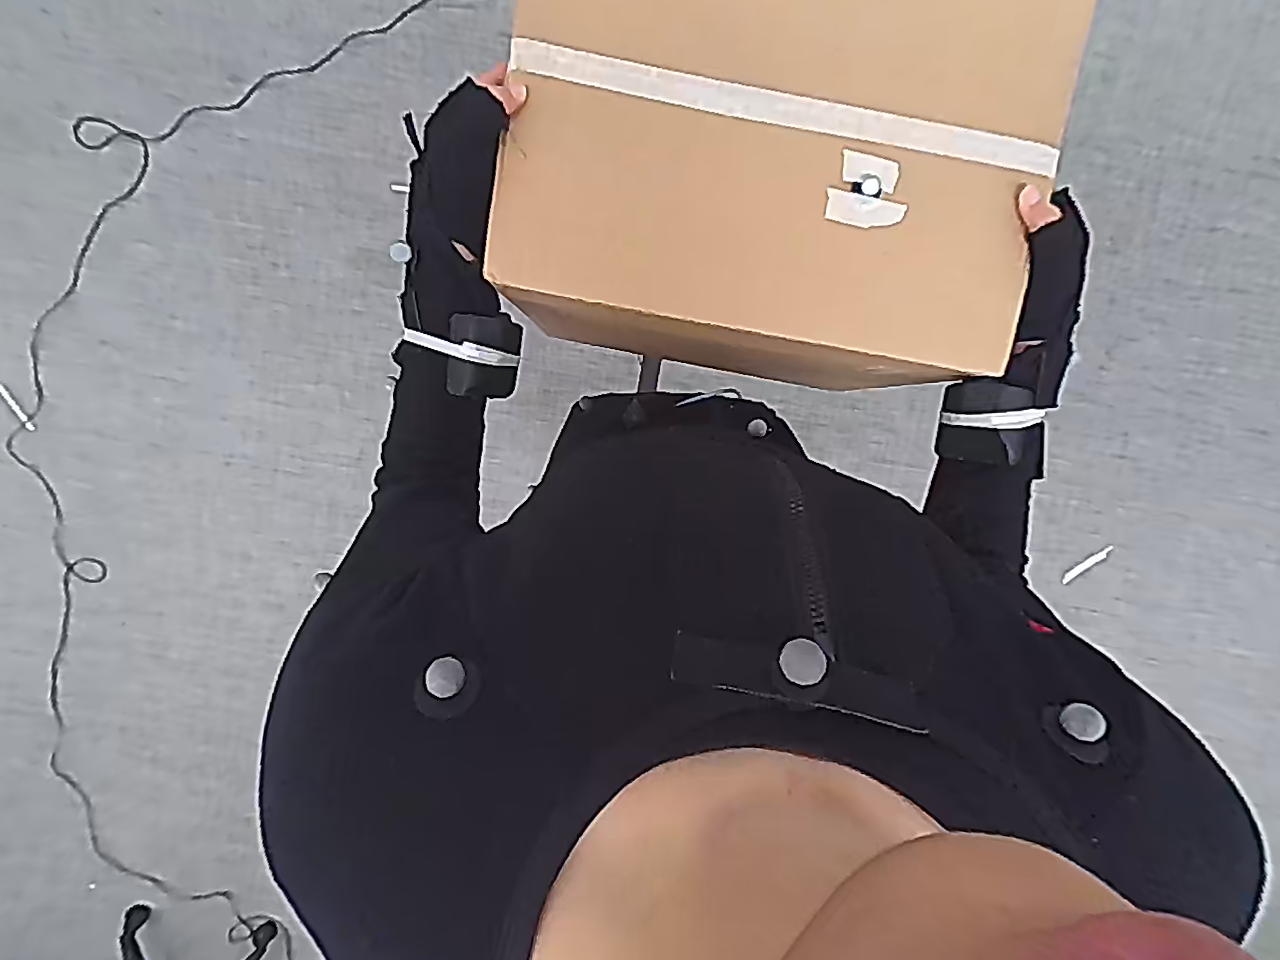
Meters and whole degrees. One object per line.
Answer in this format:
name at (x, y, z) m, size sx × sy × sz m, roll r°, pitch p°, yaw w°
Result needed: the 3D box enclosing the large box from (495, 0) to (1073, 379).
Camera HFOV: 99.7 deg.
large box at (0.100, -0.294, 0.550) m, size 0.408 × 0.320 × 0.320 m, roll 10°, pitch 98°, yaw -4°
